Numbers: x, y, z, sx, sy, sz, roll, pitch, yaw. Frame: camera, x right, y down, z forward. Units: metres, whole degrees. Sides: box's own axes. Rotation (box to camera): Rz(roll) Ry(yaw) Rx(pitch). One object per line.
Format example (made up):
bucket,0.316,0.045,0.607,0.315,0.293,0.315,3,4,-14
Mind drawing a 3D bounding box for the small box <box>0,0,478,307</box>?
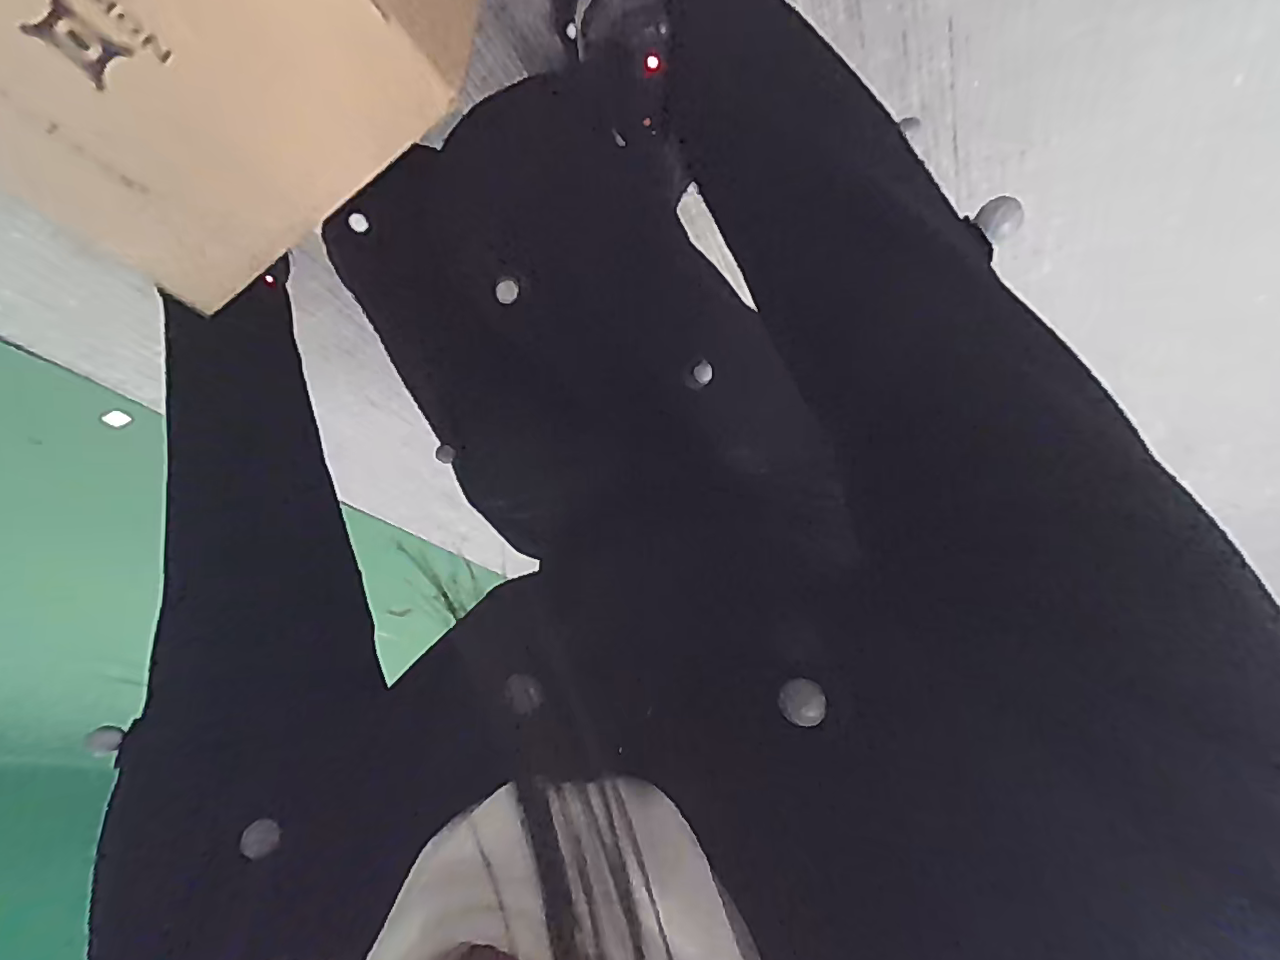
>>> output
small box,-0.186,-0.218,0.226,0.179,0.176,0.168,-22,143,24
